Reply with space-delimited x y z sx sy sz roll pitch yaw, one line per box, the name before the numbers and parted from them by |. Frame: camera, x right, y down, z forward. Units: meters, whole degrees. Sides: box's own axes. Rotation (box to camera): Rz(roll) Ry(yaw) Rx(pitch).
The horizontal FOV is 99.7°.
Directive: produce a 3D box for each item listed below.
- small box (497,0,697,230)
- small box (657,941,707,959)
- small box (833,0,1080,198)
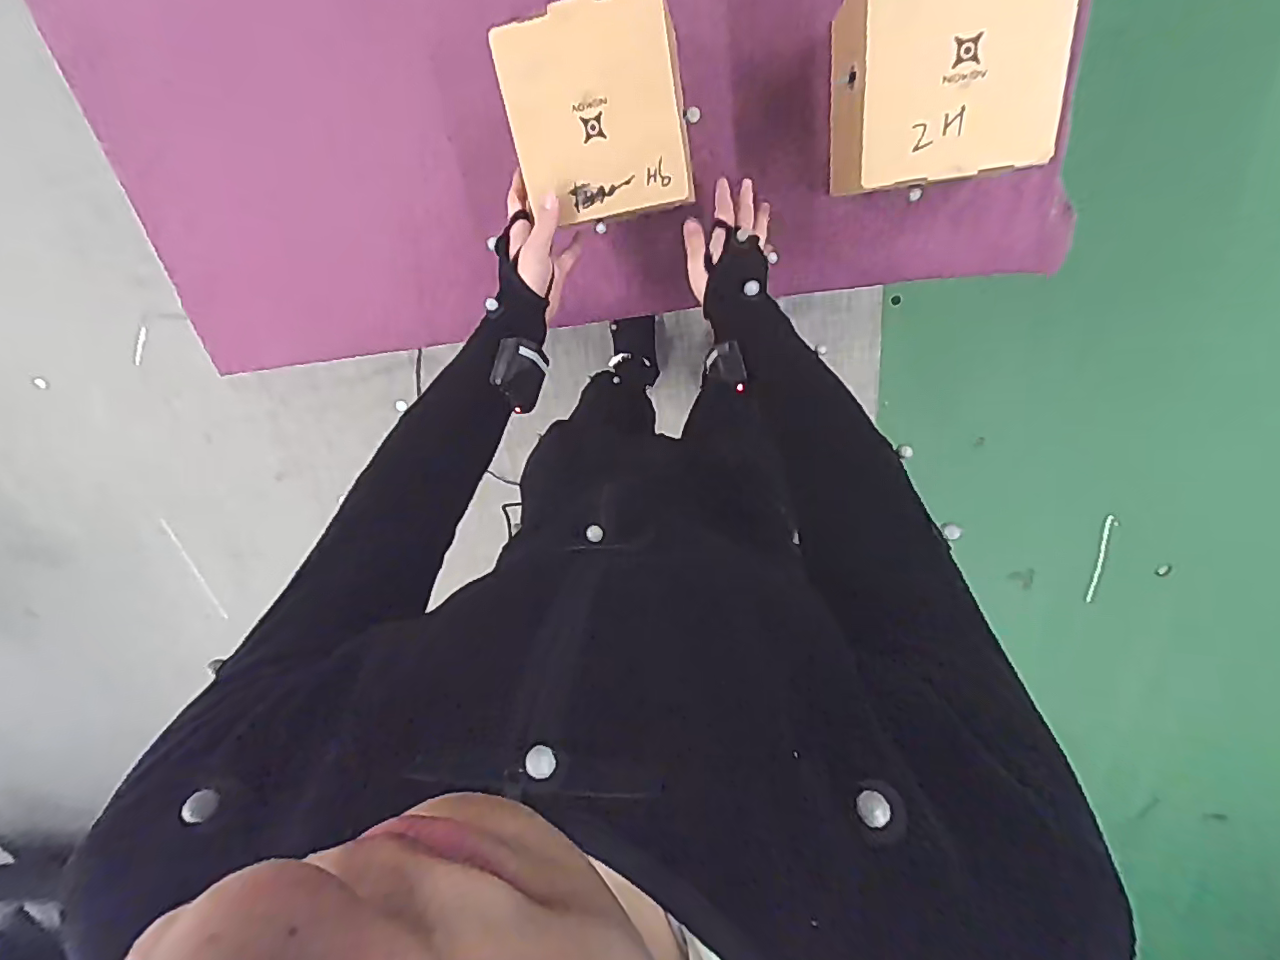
small box | -0.031 -0.381 0.592 0.168 0.176 0.179 -6 114 12
small box | 0.133 1.670 1.779 0.168 0.176 0.179 3 117 7
small box | 0.293 -0.392 0.539 0.168 0.176 0.179 -2 115 11
